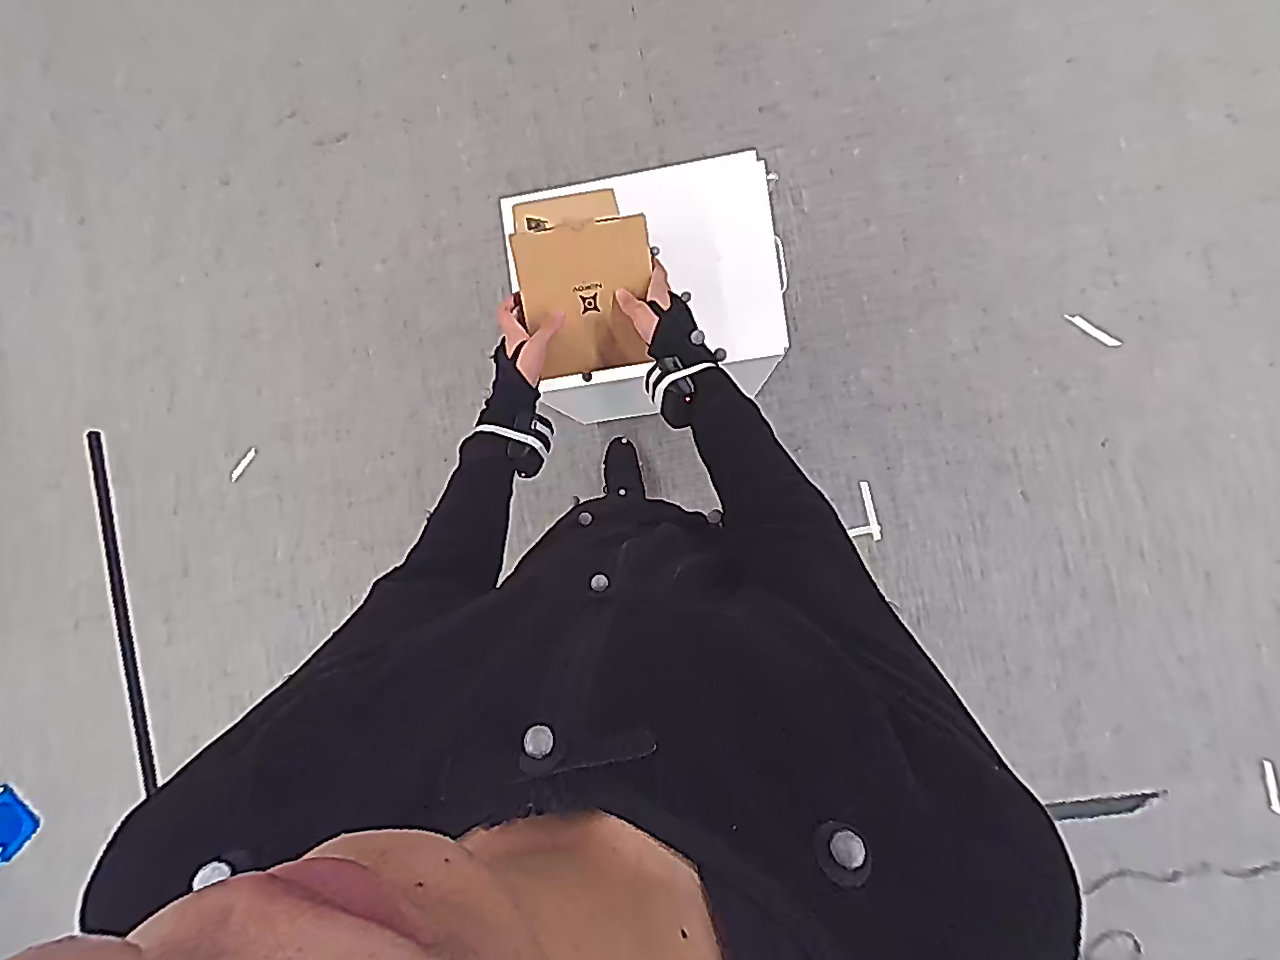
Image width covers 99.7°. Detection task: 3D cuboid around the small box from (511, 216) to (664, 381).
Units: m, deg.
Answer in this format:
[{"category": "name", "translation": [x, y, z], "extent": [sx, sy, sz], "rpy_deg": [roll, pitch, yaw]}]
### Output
[{"category": "small box", "translation": [-0.064, -0.238, 0.737], "extent": [0.168, 0.176, 0.179], "rpy_deg": [-10, 104, -1]}]

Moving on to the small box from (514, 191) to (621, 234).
[{"category": "small box", "translation": [-0.111, -0.387, 0.977], "extent": [0.179, 0.176, 0.168], "rpy_deg": [-7, 89, 5]}]
